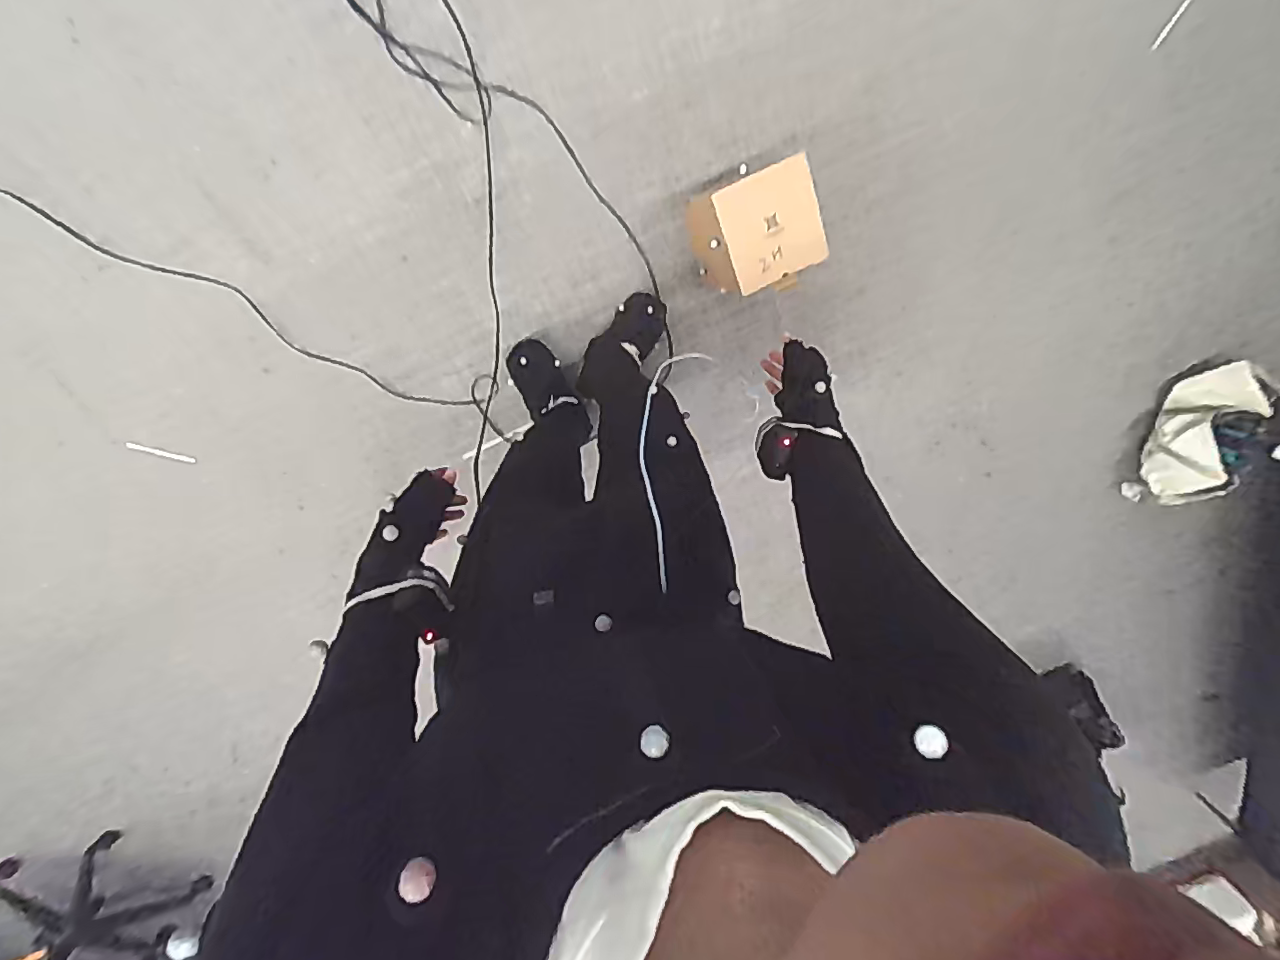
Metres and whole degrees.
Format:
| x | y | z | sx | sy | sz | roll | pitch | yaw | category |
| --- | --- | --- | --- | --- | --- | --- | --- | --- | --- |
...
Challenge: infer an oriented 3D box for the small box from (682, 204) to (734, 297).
| x | y | z | sx | sy | sz | roll | pitch | yaw | category |
| --- | --- | --- | --- | --- | --- | --- | --- | --- | --- |
| 0.202 | -0.510 | 1.142 | 0.168 | 0.176 | 0.179 | -21 | 116 | 2 | small box |

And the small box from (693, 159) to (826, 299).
| x | y | z | sx | sy | sz | roll | pitch | yaw | category |
| --- | --- | --- | --- | --- | --- | --- | --- | --- | --- |
| 0.210 | -0.453 | 0.987 | 0.168 | 0.176 | 0.179 | -23 | 117 | 4 | small box |
